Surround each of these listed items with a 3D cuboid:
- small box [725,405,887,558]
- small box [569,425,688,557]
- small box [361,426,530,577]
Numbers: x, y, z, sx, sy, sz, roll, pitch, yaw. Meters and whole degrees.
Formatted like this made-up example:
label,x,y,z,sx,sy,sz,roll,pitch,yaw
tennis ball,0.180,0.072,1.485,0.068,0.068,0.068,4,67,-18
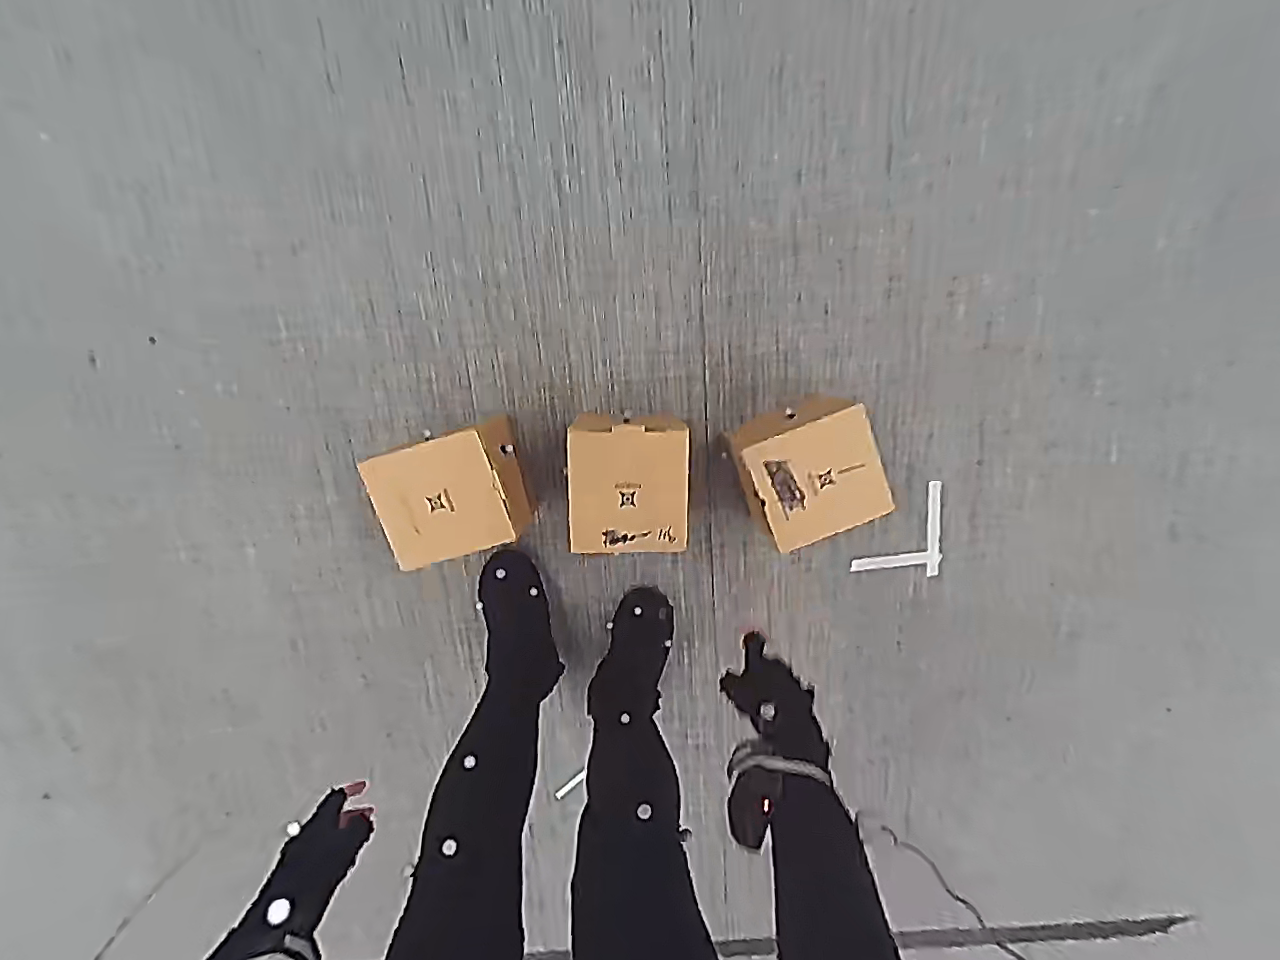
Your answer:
label,x,y,z,sx,sy,sz,roll,pitch,yaw
small box,0.240,-0.006,0.830,0.179,0.176,0.168,-21,102,3
small box,-0.021,0.008,0.828,0.168,0.176,0.179,0,102,-2
small box,-0.278,0.022,0.825,0.179,0.176,0.168,-16,102,3
